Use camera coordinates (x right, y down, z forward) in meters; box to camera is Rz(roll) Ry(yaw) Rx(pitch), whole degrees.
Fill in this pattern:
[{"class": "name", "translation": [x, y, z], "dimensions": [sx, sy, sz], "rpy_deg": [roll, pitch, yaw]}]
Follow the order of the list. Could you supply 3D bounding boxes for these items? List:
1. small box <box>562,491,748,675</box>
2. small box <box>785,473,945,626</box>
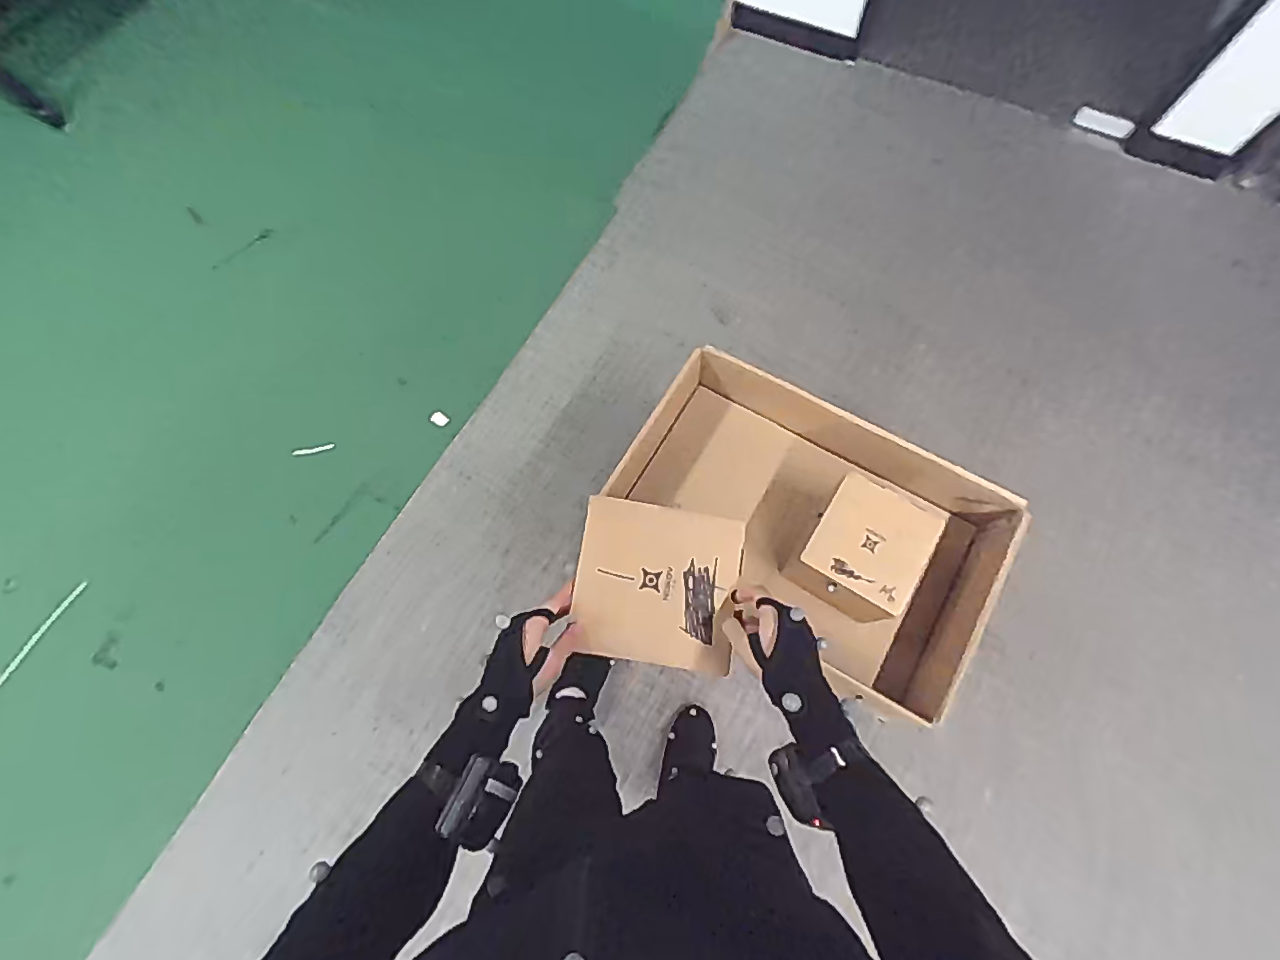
[{"class": "small box", "translation": [0.013, 0.123, 0.644], "dimensions": [0.179, 0.176, 0.168], "rpy_deg": [11, 75, -2]}, {"class": "small box", "translation": [0.360, 0.123, 0.901], "dimensions": [0.168, 0.176, 0.179], "rpy_deg": [31, 75, 14]}]
